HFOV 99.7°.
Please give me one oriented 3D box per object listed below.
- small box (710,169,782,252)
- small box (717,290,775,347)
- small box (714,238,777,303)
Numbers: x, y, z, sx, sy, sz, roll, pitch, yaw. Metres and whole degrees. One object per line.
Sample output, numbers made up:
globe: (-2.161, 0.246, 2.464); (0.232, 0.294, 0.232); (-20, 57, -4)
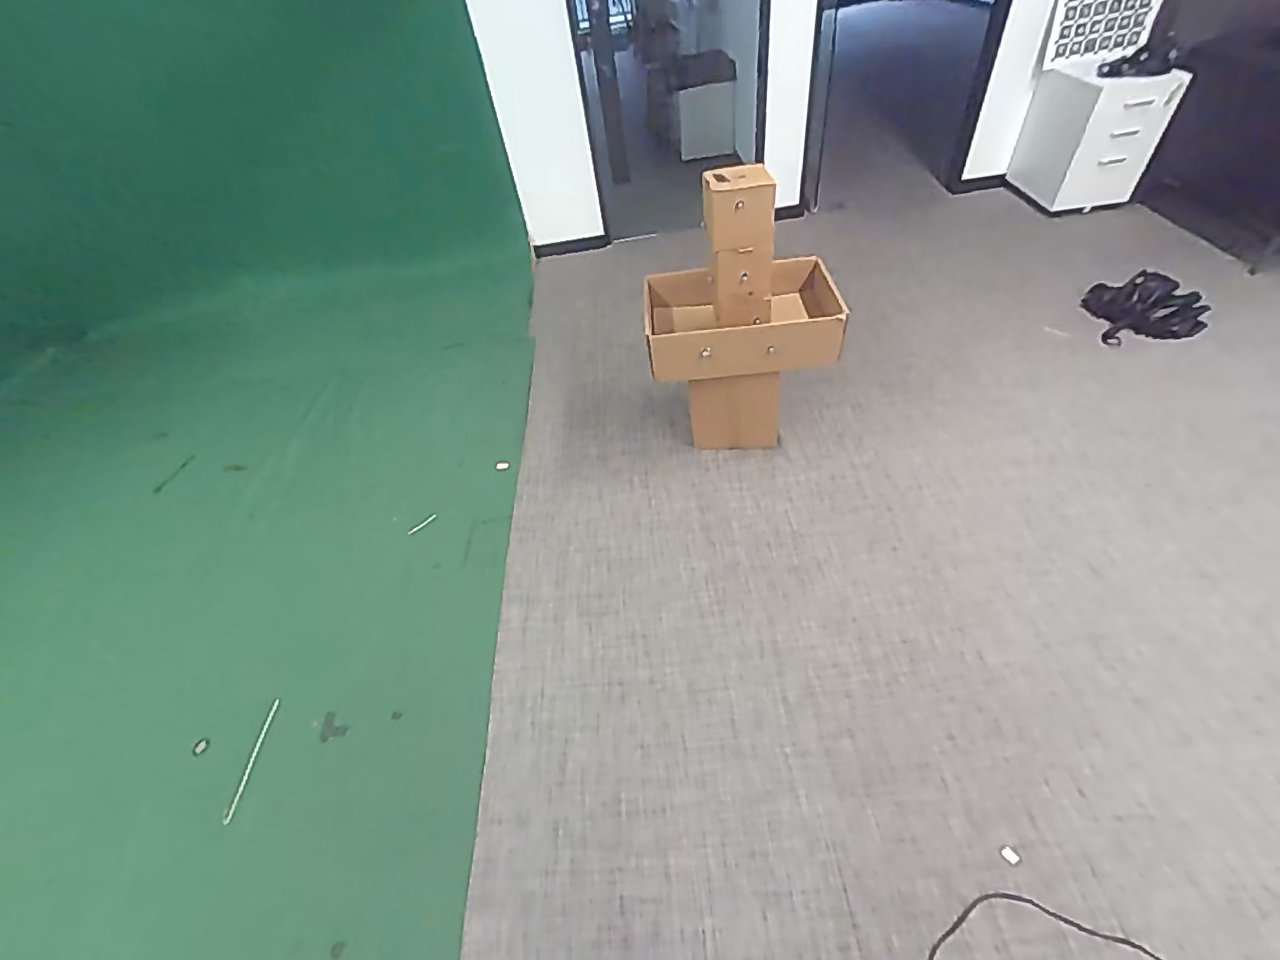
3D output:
small box: (0.302, -0.778, 1.570); (0.179, 0.176, 0.168); (-7, 47, 1)
small box: (0.352, -0.557, 1.809); (0.168, 0.176, 0.179); (-6, 45, 2)
small box: (0.327, -0.669, 1.692); (0.168, 0.176, 0.179); (-6, 47, 2)
